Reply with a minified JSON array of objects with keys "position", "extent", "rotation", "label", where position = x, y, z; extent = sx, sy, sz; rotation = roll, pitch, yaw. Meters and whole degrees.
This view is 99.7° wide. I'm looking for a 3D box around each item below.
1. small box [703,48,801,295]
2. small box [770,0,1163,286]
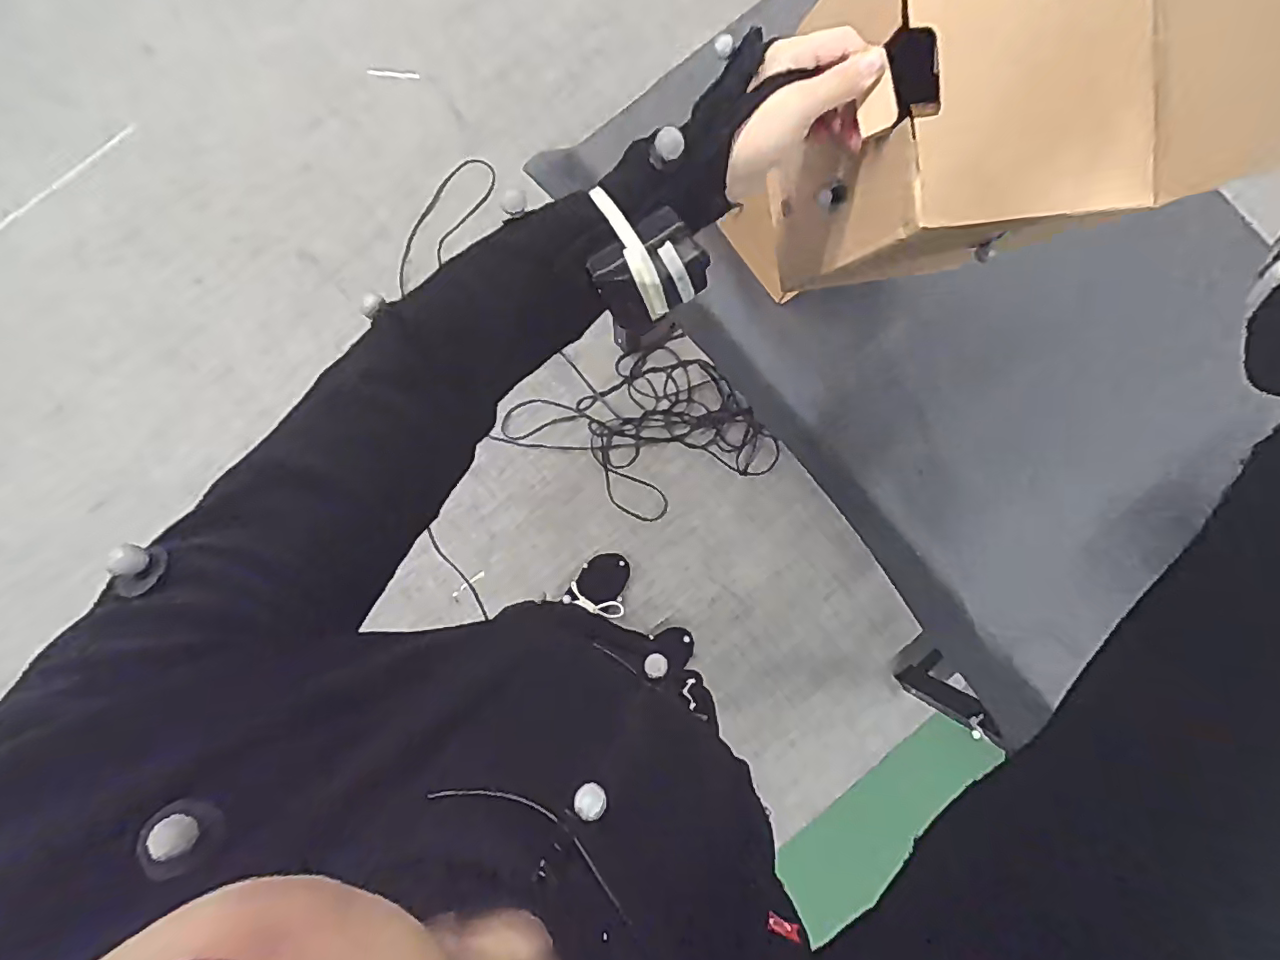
[{"position":[0.190,-0.348,0.611],"extent":[0.168,0.176,0.179],"rotation":[-37,88,-4],"label":"small box"},{"position":[0.204,-0.241,0.377],"extent":[0.179,0.176,0.168],"rotation":[-11,101,-12],"label":"small box"}]
